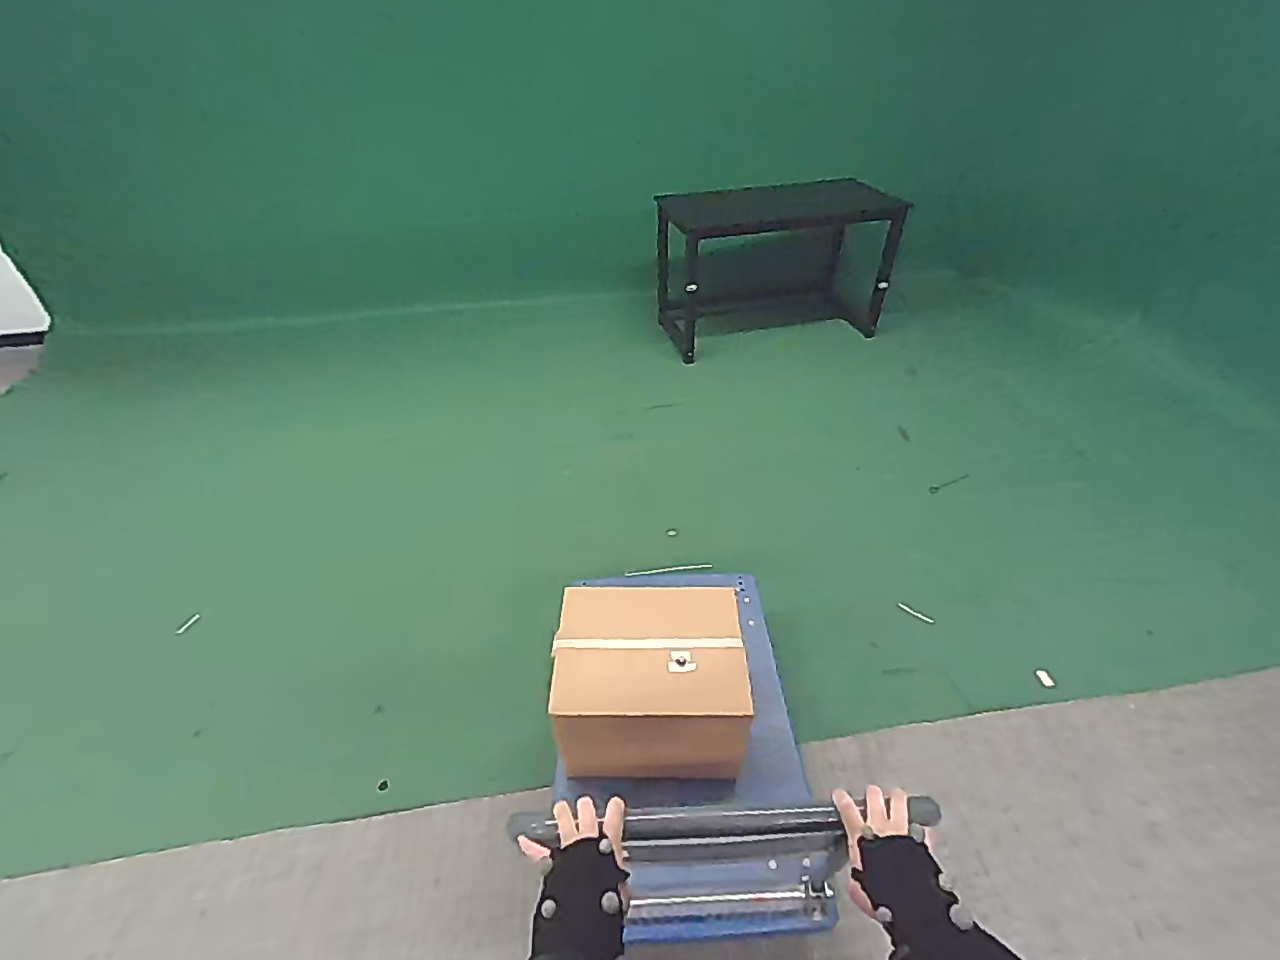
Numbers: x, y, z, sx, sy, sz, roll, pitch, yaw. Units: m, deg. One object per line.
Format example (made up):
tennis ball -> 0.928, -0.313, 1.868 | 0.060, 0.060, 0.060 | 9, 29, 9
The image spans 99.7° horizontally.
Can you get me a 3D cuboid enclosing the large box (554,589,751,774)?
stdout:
large box -> 0.022, 0.476, 1.285 | 0.408, 0.320, 0.320 | 0, 41, 0
